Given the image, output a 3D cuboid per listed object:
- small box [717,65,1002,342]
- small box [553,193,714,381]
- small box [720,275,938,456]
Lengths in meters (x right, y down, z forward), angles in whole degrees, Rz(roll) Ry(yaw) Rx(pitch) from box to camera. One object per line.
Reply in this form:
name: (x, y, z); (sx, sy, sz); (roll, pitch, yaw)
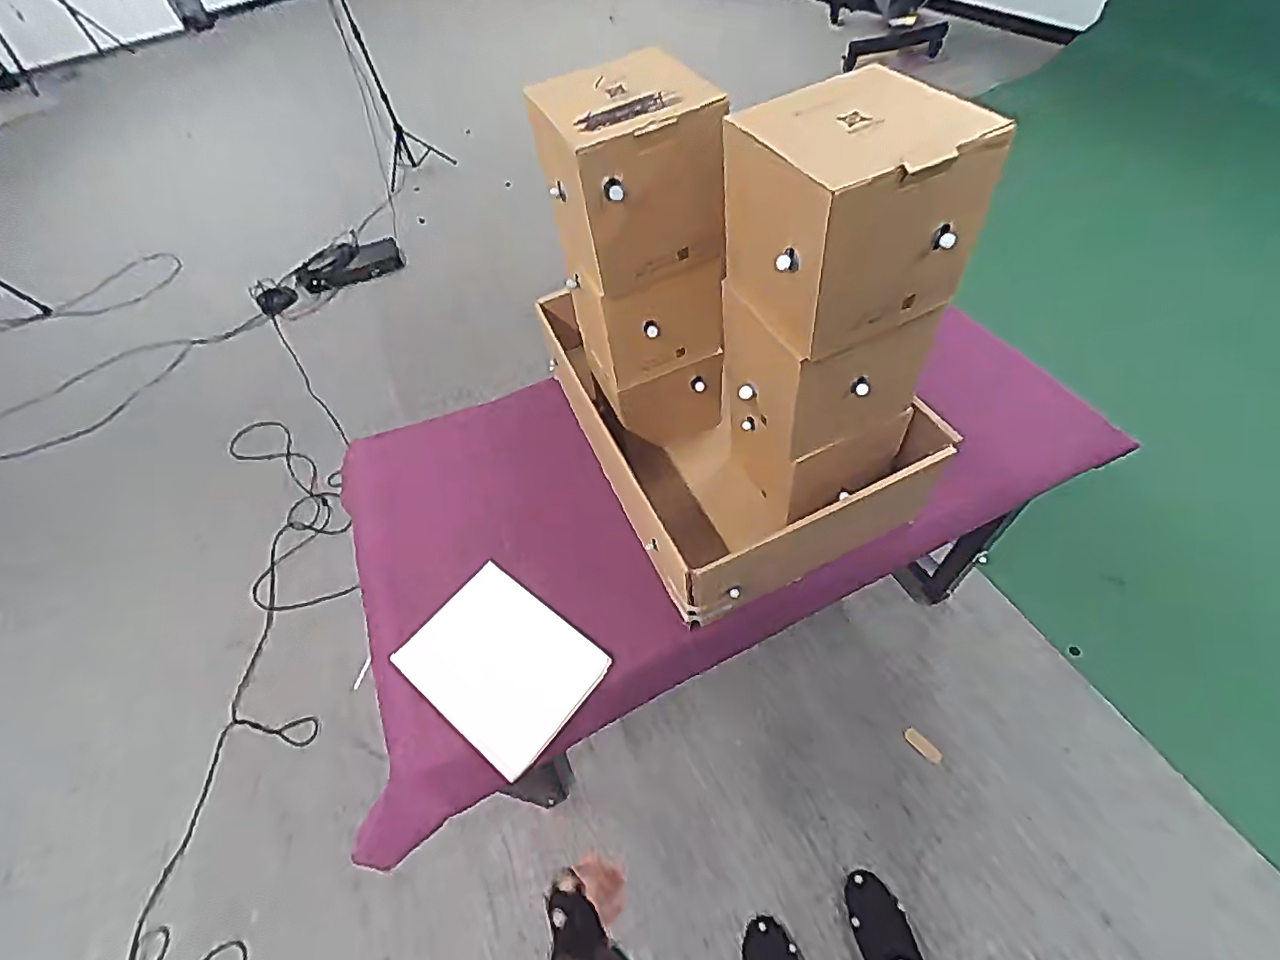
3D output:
small box: (0.189, -0.256, 0.522); (0.168, 0.176, 0.179); (-23, 53, -7)
small box: (-0.003, -0.264, 0.768); (0.168, 0.176, 0.179); (-23, 56, -8)
small box: (0.211, -0.161, 0.653); (0.179, 0.176, 0.168); (-24, 53, -6)
